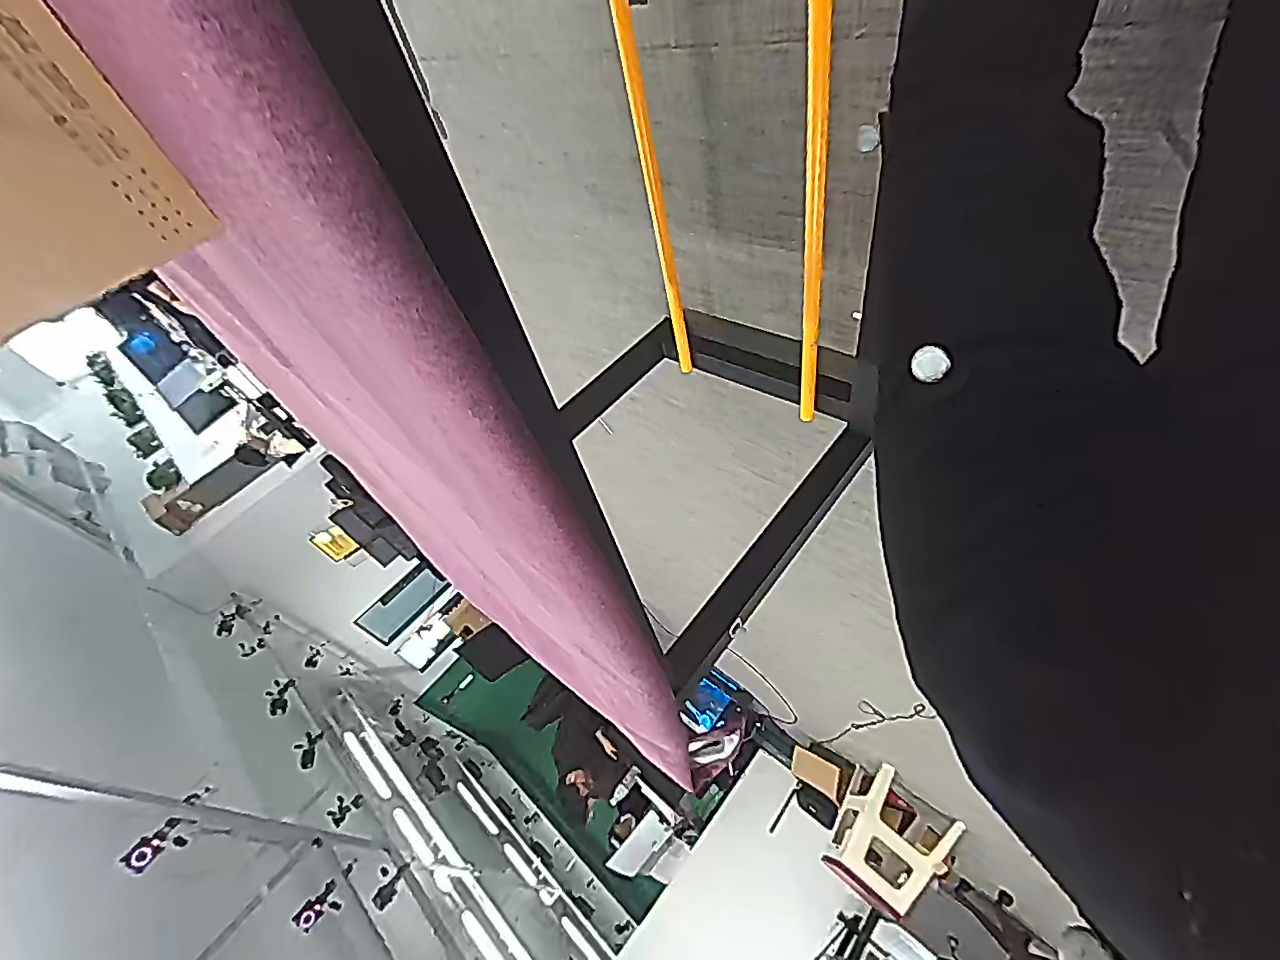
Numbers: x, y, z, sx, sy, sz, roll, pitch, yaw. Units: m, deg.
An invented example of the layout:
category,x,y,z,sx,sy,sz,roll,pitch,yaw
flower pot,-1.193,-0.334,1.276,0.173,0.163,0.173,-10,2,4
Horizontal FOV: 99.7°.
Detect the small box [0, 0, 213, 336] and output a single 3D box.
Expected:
category,x,y,z,sx,sy,sz,roll,pitch,yaw
small box,-0.343,-0.167,0.237,0.179,0.176,0.168,32,156,31
